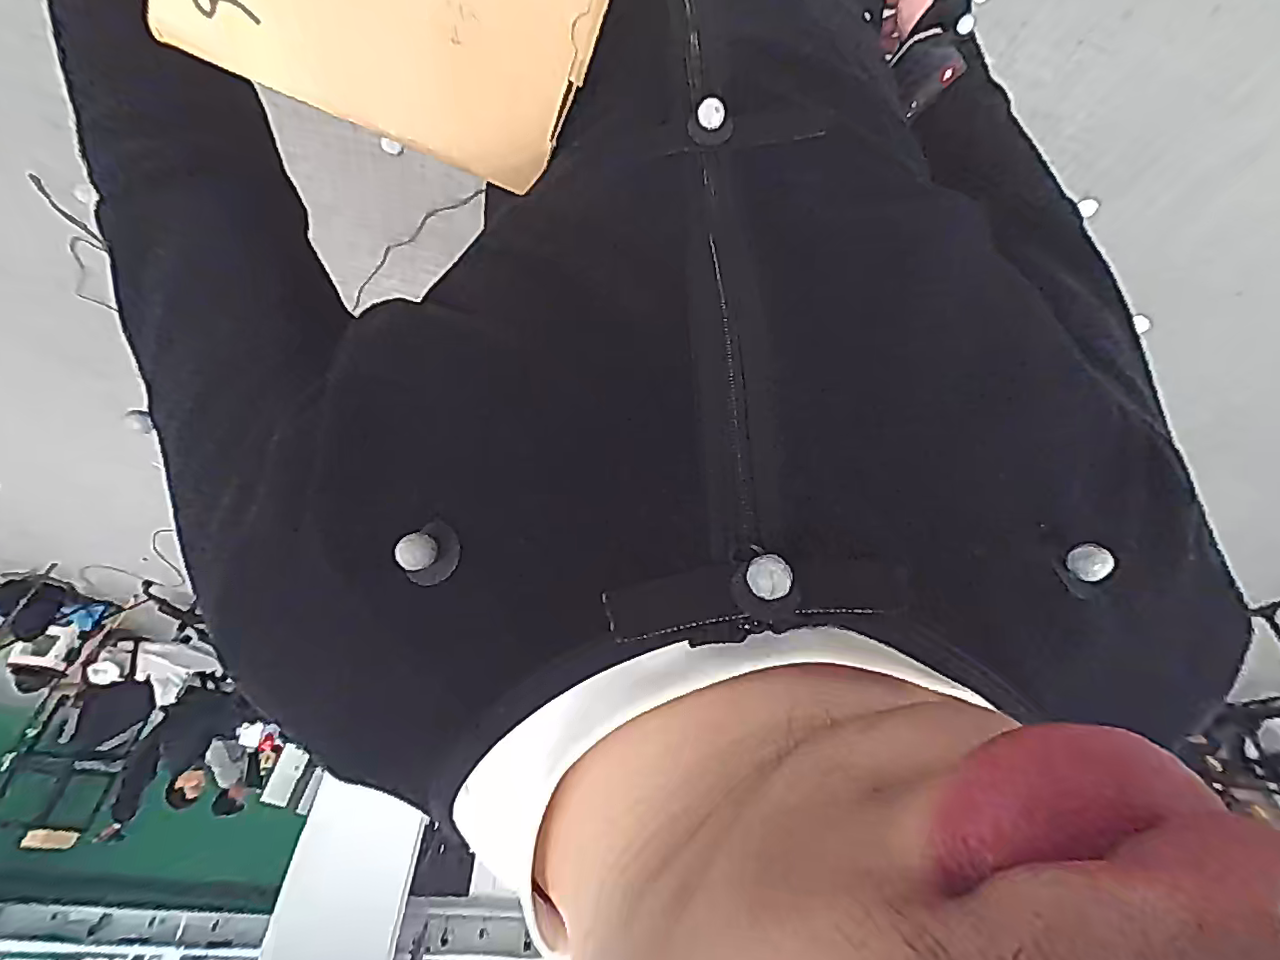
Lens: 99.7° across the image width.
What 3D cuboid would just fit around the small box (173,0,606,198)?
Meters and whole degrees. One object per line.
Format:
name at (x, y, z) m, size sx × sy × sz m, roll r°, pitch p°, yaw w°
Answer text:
small box at (-0.123, -0.289, 0.306) m, size 0.179 × 0.176 × 0.168 m, roll 11°, pitch 118°, yaw -26°
